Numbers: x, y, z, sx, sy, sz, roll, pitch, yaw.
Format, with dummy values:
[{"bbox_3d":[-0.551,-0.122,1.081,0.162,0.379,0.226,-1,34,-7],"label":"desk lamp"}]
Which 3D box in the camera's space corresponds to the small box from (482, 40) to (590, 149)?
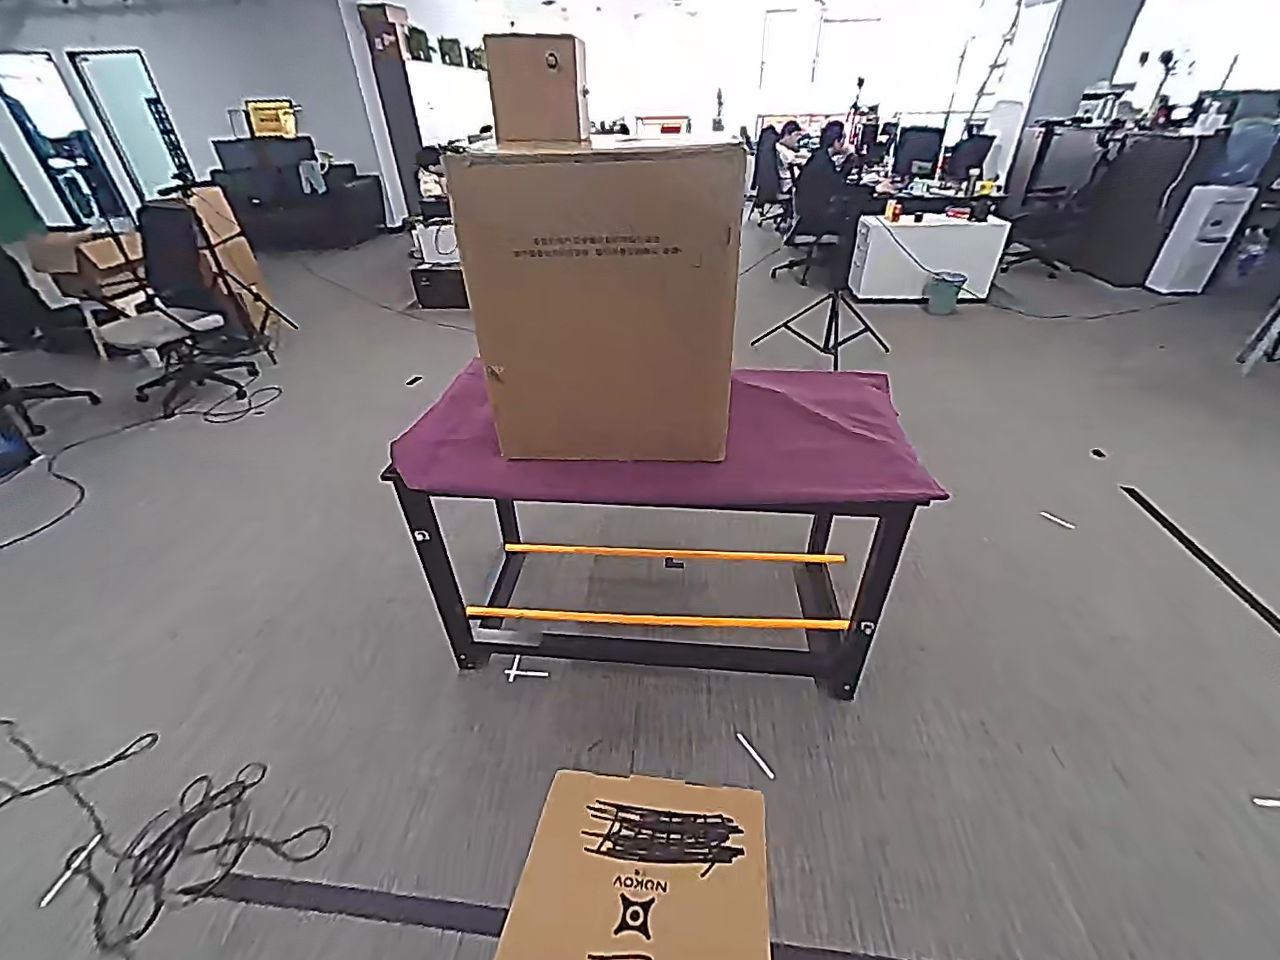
[{"bbox_3d":[-0.199,-0.777,1.095,0.179,0.176,0.168,1,34,3],"label":"small box"}]
